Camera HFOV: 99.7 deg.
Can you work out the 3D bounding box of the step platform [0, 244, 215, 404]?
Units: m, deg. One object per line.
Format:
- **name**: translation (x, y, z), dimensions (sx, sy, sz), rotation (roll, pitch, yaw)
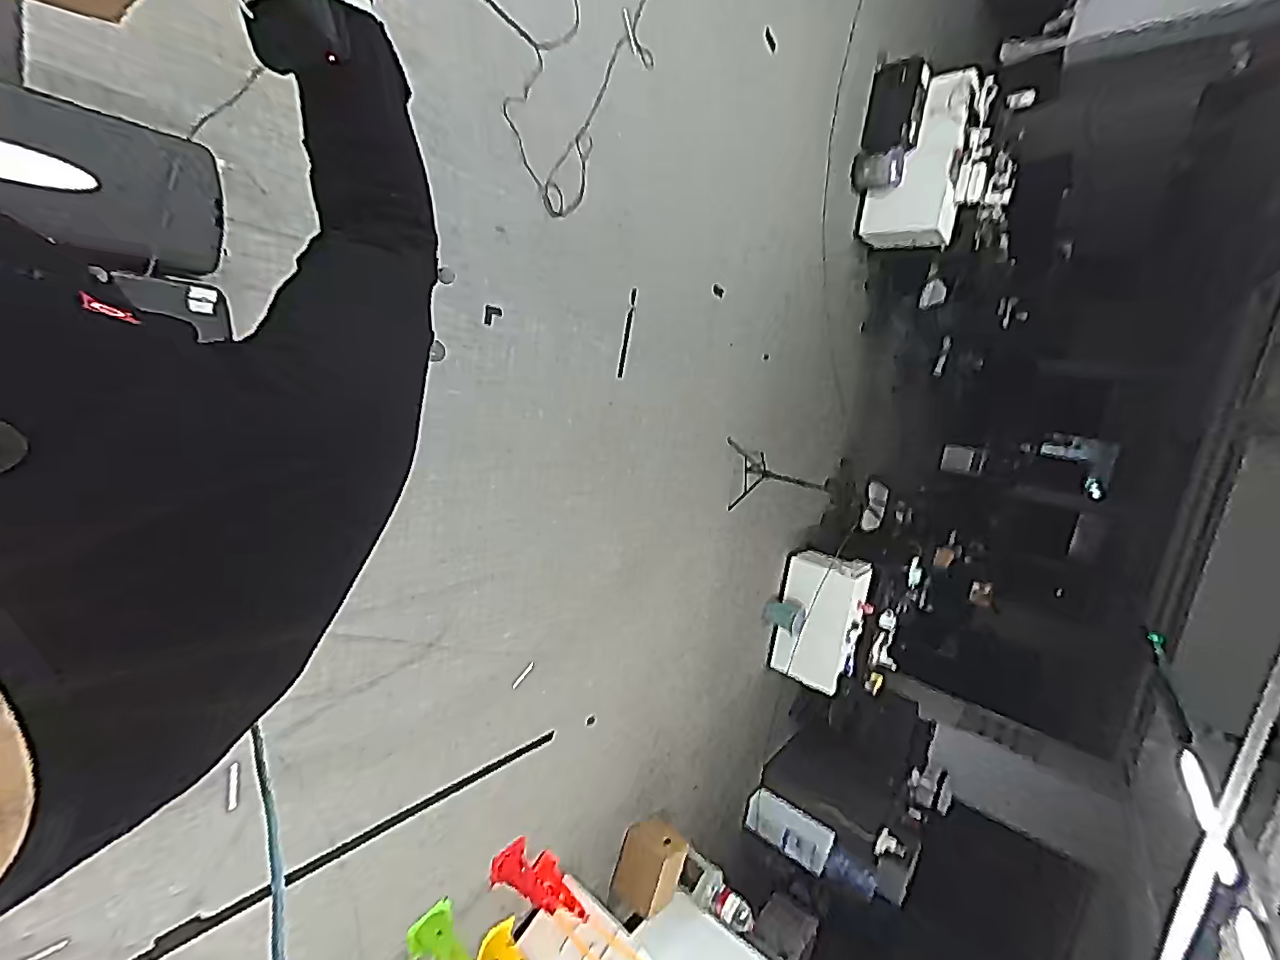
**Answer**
- **step platform**: translation (-1.224, -0.295, 1.004), dimensions (0.684, 0.204, 0.286), rotation (-7, 108, -49)
